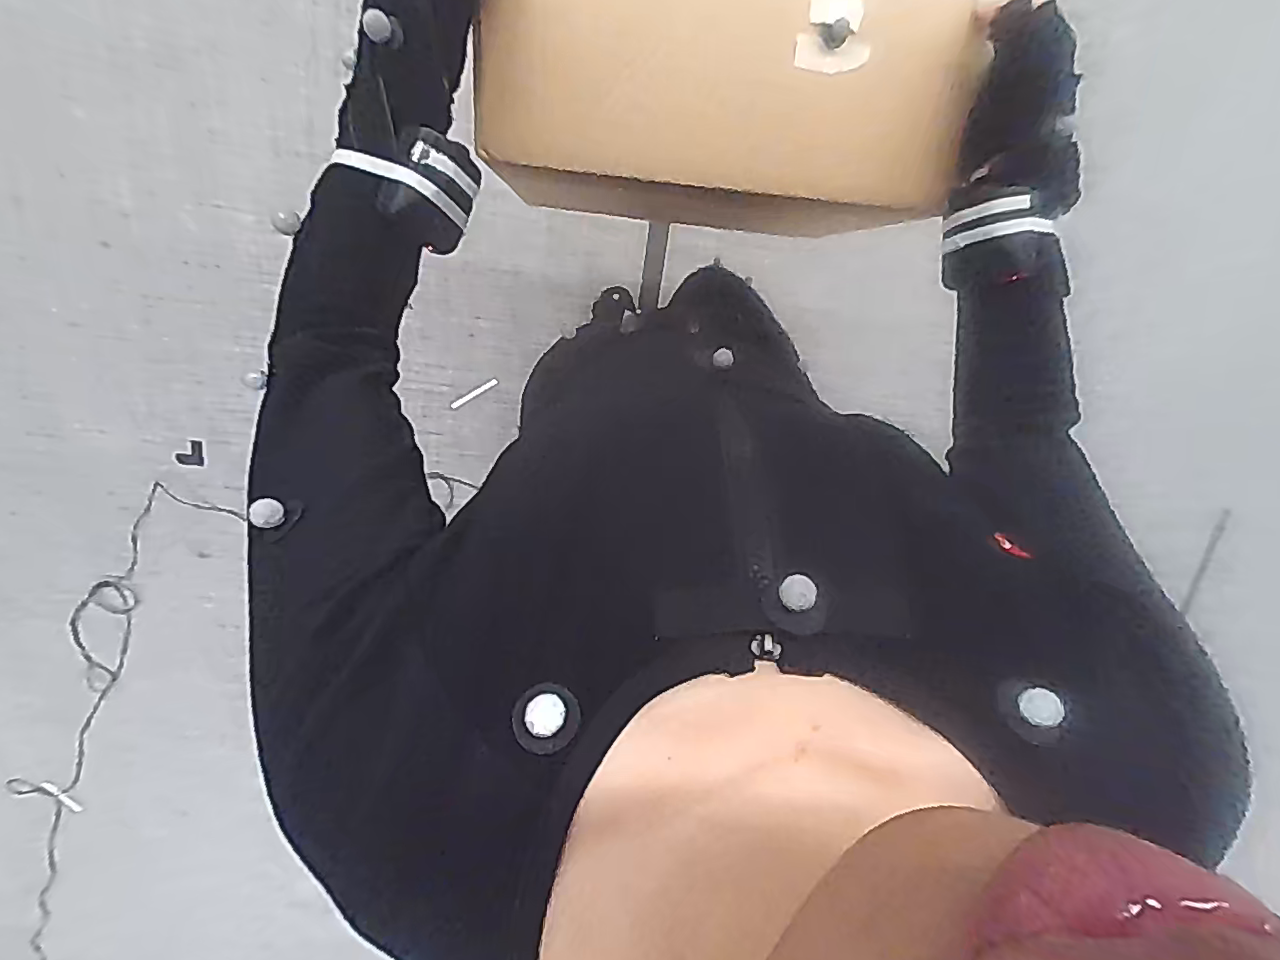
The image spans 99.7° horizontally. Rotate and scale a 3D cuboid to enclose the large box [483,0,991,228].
[{"bbox_3d":[0.068,-0.449,0.543,0.408,0.320,0.320,3,111,-7],"label":"large box"}]
